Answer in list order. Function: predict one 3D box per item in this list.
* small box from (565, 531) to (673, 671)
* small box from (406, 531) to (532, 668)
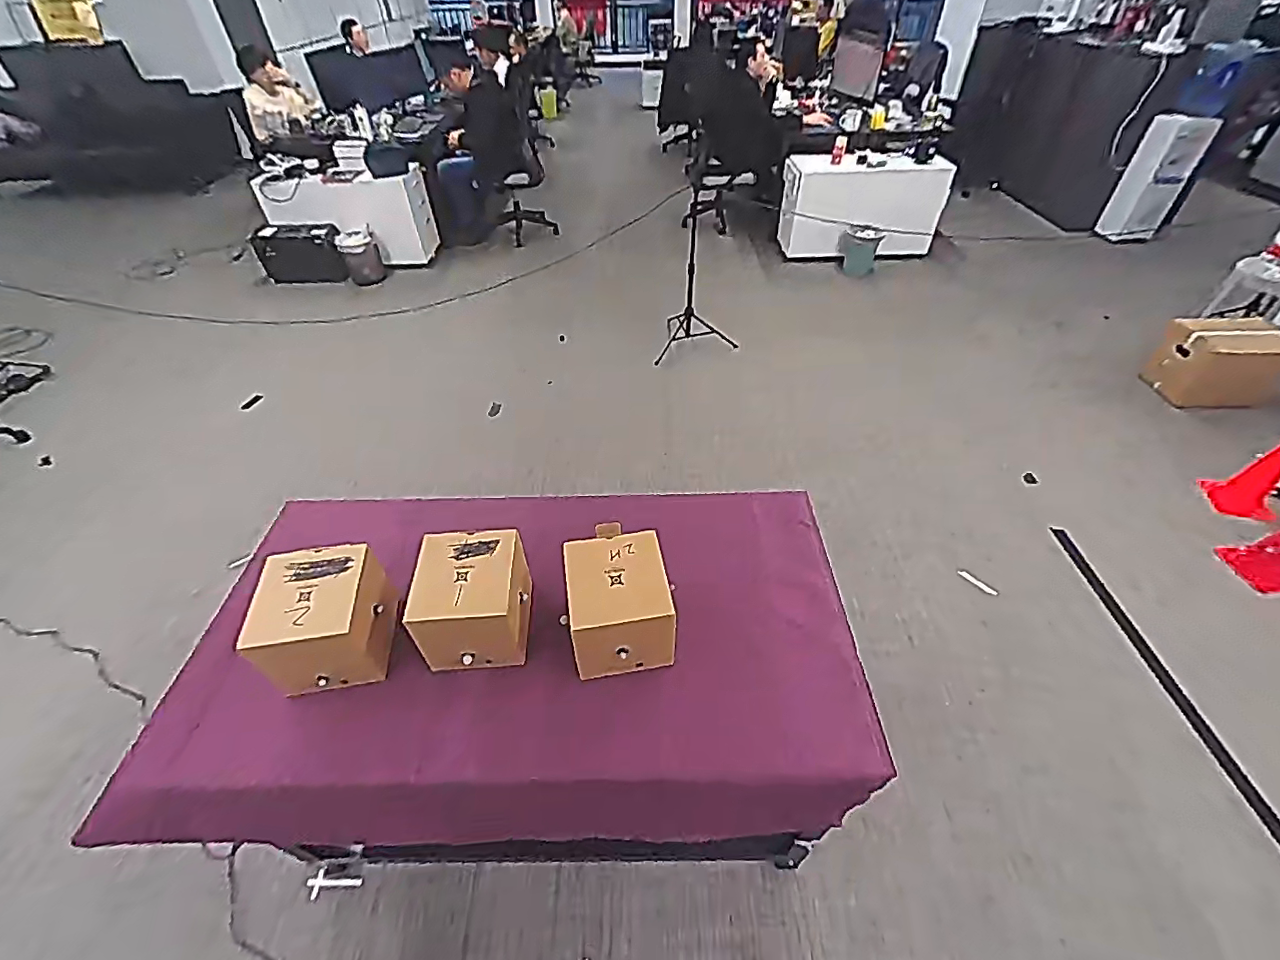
[{"bbox_3d":[-0.037,0.218,0.951,0.168,0.176,0.179,-7,44,-6],"label":"small box"},{"bbox_3d":[-0.290,0.213,0.963,0.168,0.176,0.179,-3,45,-2],"label":"small box"}]
